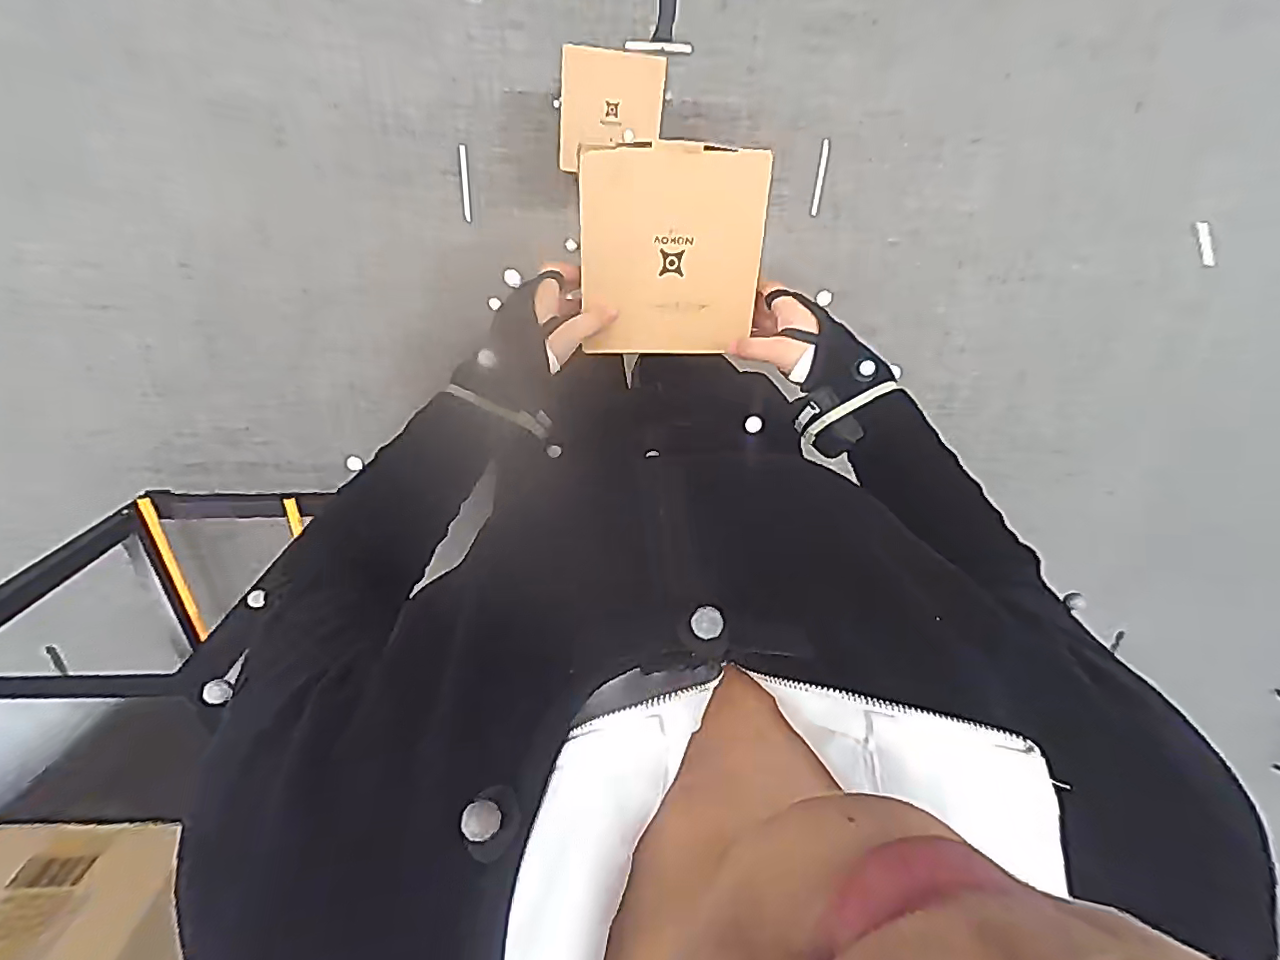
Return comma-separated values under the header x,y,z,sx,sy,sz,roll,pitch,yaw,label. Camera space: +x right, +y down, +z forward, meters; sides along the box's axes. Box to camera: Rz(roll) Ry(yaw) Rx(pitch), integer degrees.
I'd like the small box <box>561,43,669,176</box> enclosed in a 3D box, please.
x,y,z,sx,sy,sz,roll,pitch,yaw,label
-0.048,-0.631,0.952,0.168,0.176,0.179,4,118,-6,small box

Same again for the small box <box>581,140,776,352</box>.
x,y,z,sx,sy,sz,roll,pitch,yaw,label
0.024,-0.240,0.558,0.168,0.176,0.179,-1,120,-6,small box
